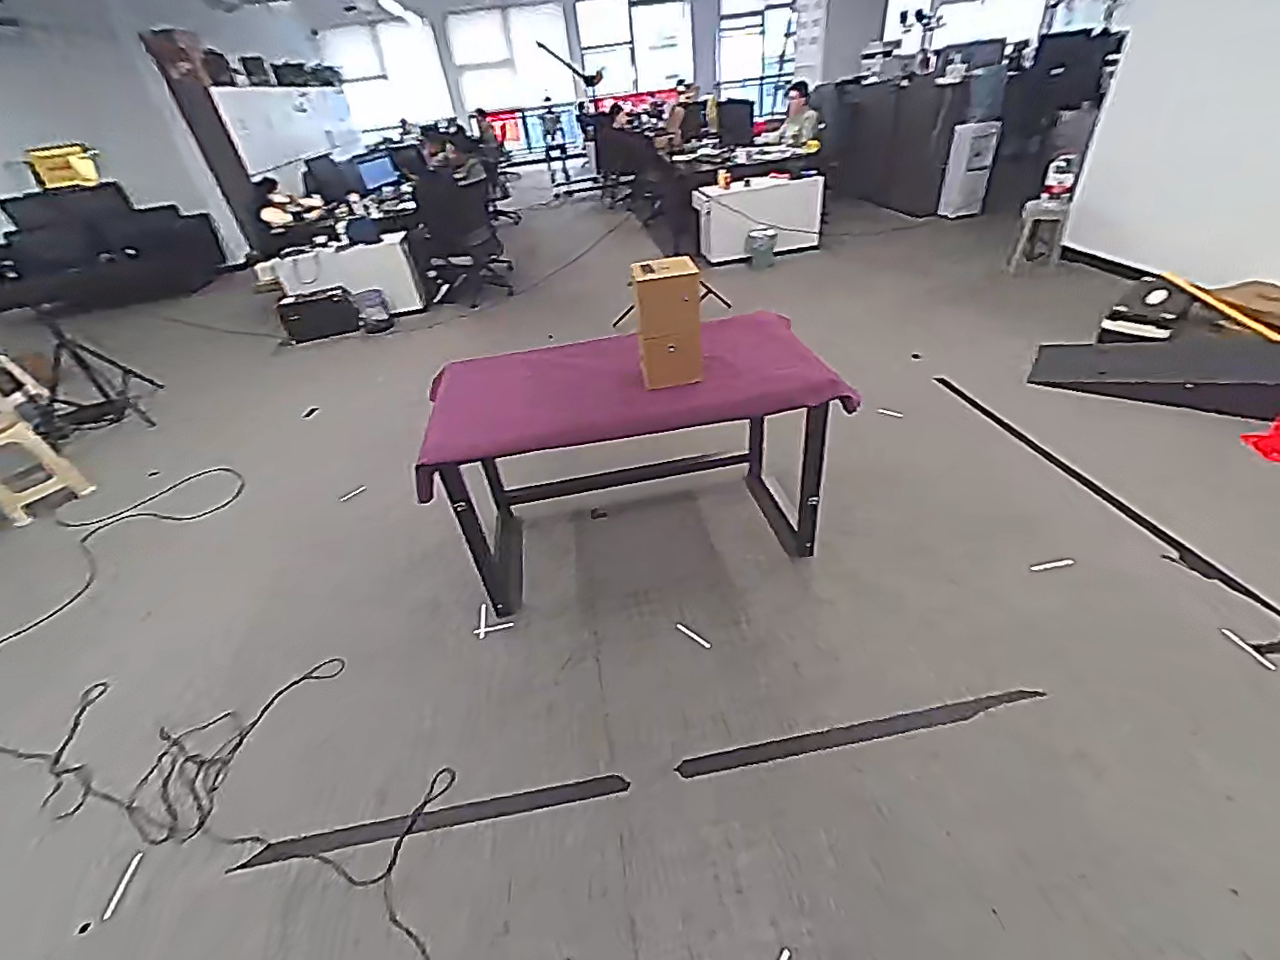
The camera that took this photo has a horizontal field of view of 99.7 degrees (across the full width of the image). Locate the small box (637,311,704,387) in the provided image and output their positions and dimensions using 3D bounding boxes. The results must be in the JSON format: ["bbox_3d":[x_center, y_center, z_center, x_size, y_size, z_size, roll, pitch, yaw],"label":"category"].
[{"bbox_3d":[0.093,-0.401,1.667,0.179,0.176,0.168,-9,38,-2],"label":"small box"}]
